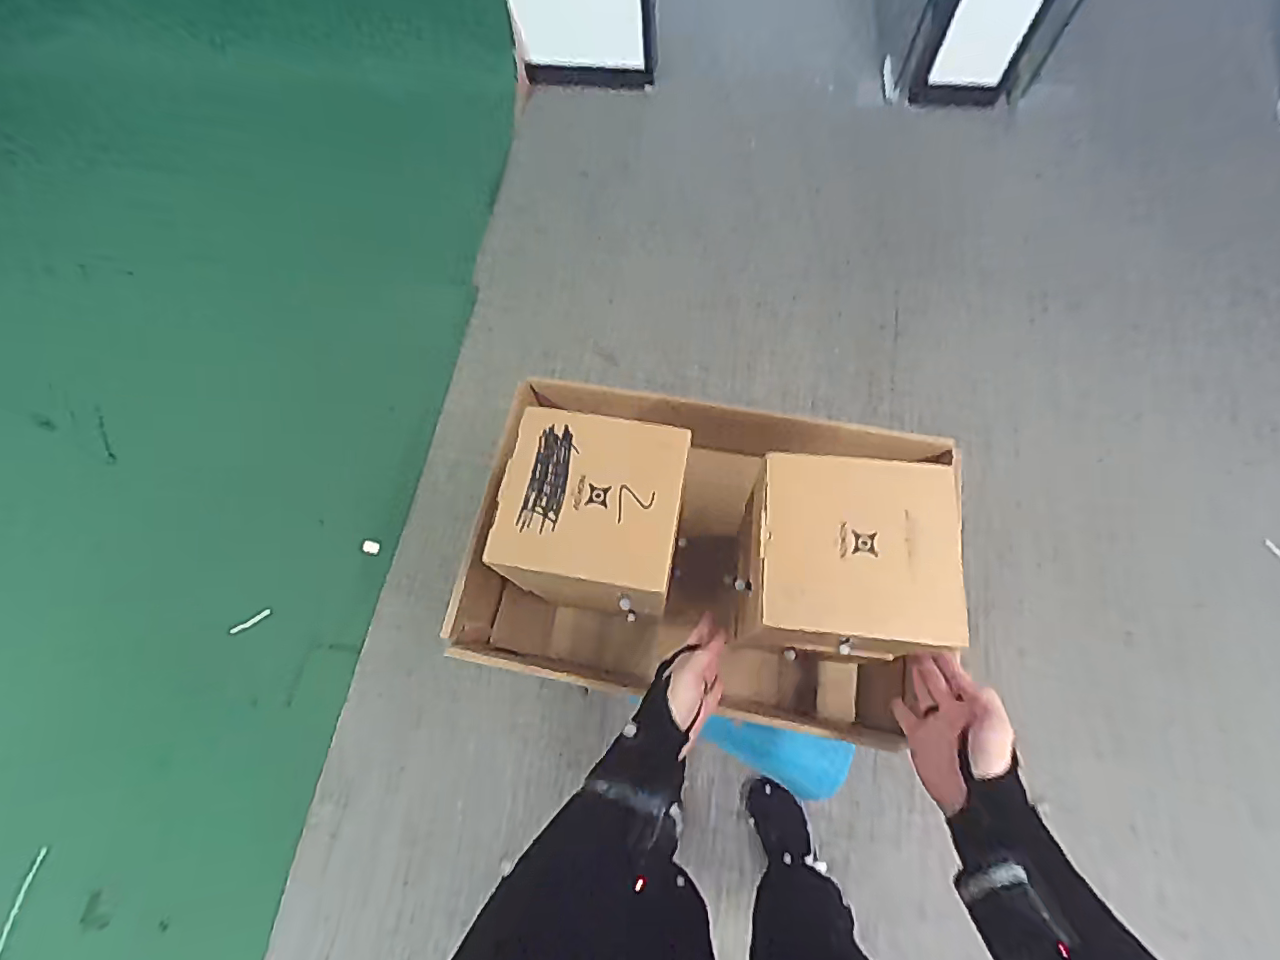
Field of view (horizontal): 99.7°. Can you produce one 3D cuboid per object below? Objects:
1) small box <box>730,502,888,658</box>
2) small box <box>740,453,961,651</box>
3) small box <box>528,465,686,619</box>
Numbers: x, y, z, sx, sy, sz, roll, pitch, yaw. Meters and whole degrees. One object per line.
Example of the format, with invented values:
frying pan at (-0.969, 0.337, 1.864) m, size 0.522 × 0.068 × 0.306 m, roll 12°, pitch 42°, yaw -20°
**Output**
small box at (0.216, 0.139, 0.717) m, size 0.179 × 0.176 × 0.168 m, roll 6°, pitch 71°, yaw 8°
small box at (0.201, 0.083, 0.565) m, size 0.179 × 0.176 × 0.168 m, roll 5°, pitch 71°, yaw 6°
small box at (-0.035, 0.094, 0.758) m, size 0.179 × 0.176 × 0.168 m, roll 9°, pitch 71°, yaw 6°
